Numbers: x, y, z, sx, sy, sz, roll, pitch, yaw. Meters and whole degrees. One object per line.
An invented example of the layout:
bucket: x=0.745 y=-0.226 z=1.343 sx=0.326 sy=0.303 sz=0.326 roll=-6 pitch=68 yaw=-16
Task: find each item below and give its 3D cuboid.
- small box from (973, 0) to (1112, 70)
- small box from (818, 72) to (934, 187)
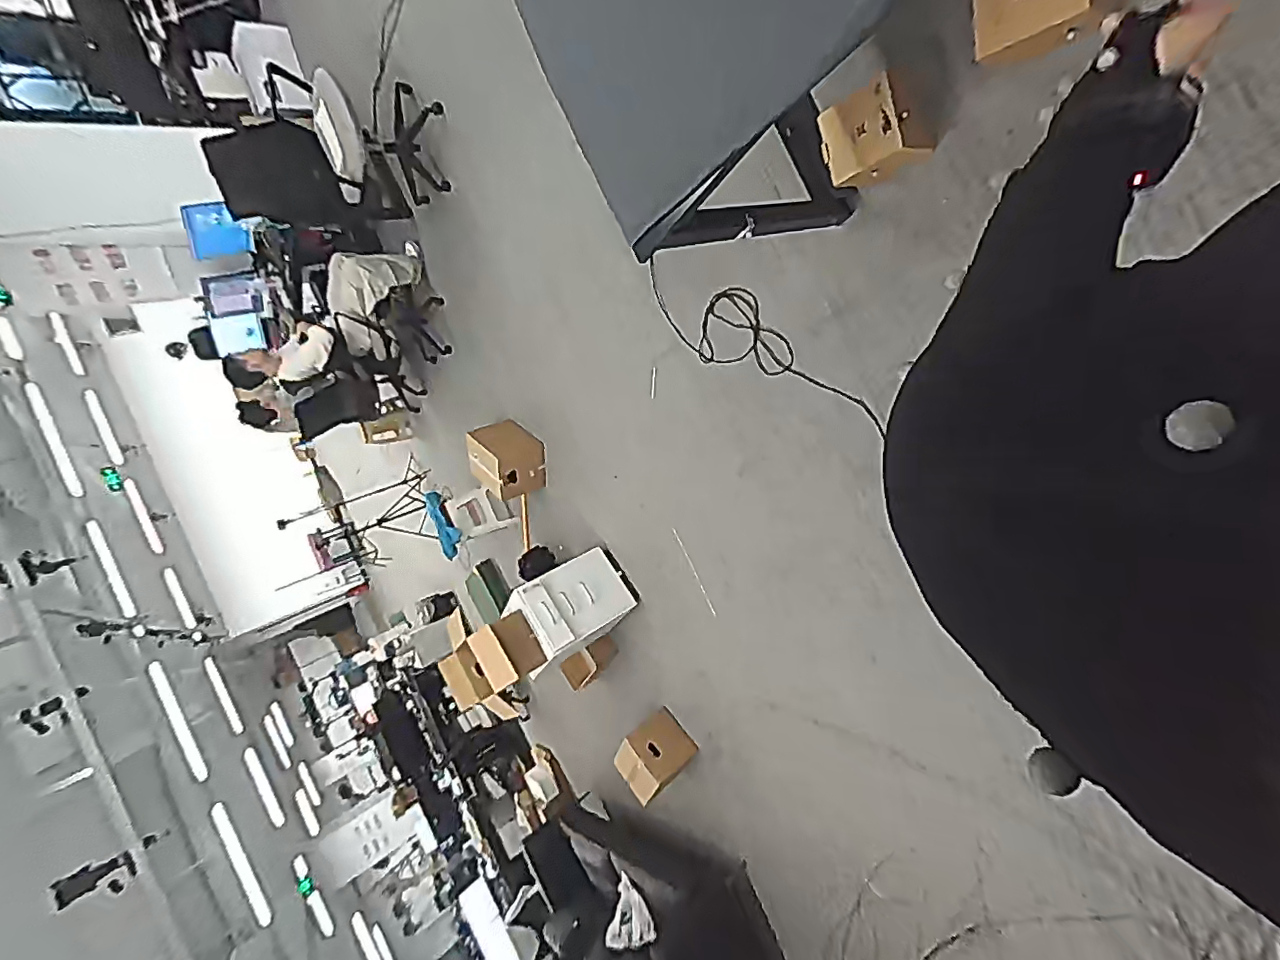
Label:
small box: x=0.741 y=-0.893 z=0.994 sx=0.179 sy=0.176 sz=0.168 roll=8 pitch=115 yaw=52
small box: x=0.559 y=-0.818 z=1.280 sx=0.179 sy=0.176 sz=0.168 roll=-5 pitch=106 yaw=55
